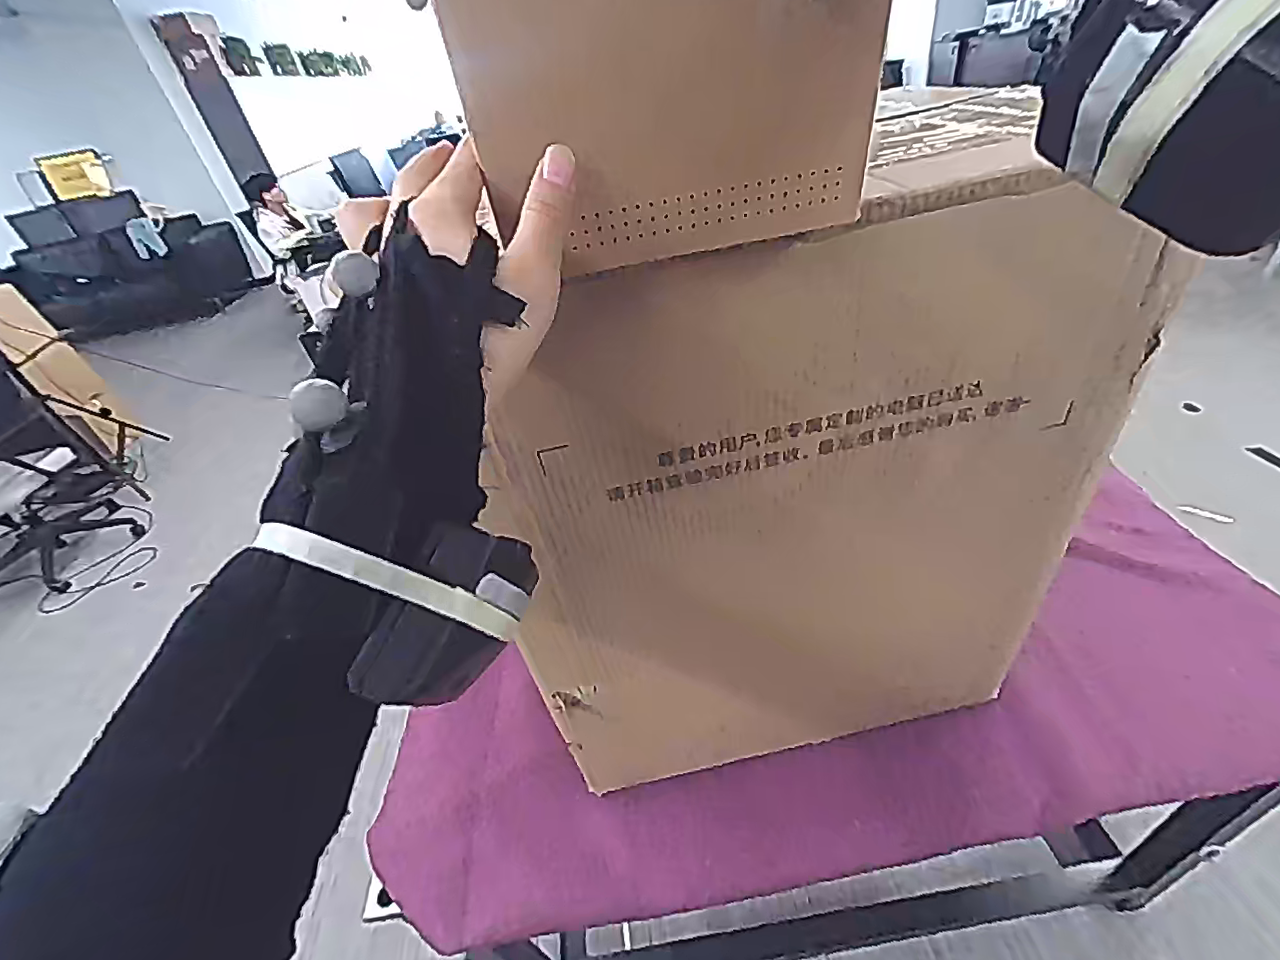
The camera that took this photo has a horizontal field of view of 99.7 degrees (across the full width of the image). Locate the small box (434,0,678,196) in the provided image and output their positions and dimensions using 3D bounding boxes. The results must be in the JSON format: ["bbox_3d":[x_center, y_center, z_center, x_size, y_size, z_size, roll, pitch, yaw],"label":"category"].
[{"bbox_3d":[-0.072,-0.352,0.457,0.168,0.176,0.179,-14,38,-8],"label":"small box"}]
